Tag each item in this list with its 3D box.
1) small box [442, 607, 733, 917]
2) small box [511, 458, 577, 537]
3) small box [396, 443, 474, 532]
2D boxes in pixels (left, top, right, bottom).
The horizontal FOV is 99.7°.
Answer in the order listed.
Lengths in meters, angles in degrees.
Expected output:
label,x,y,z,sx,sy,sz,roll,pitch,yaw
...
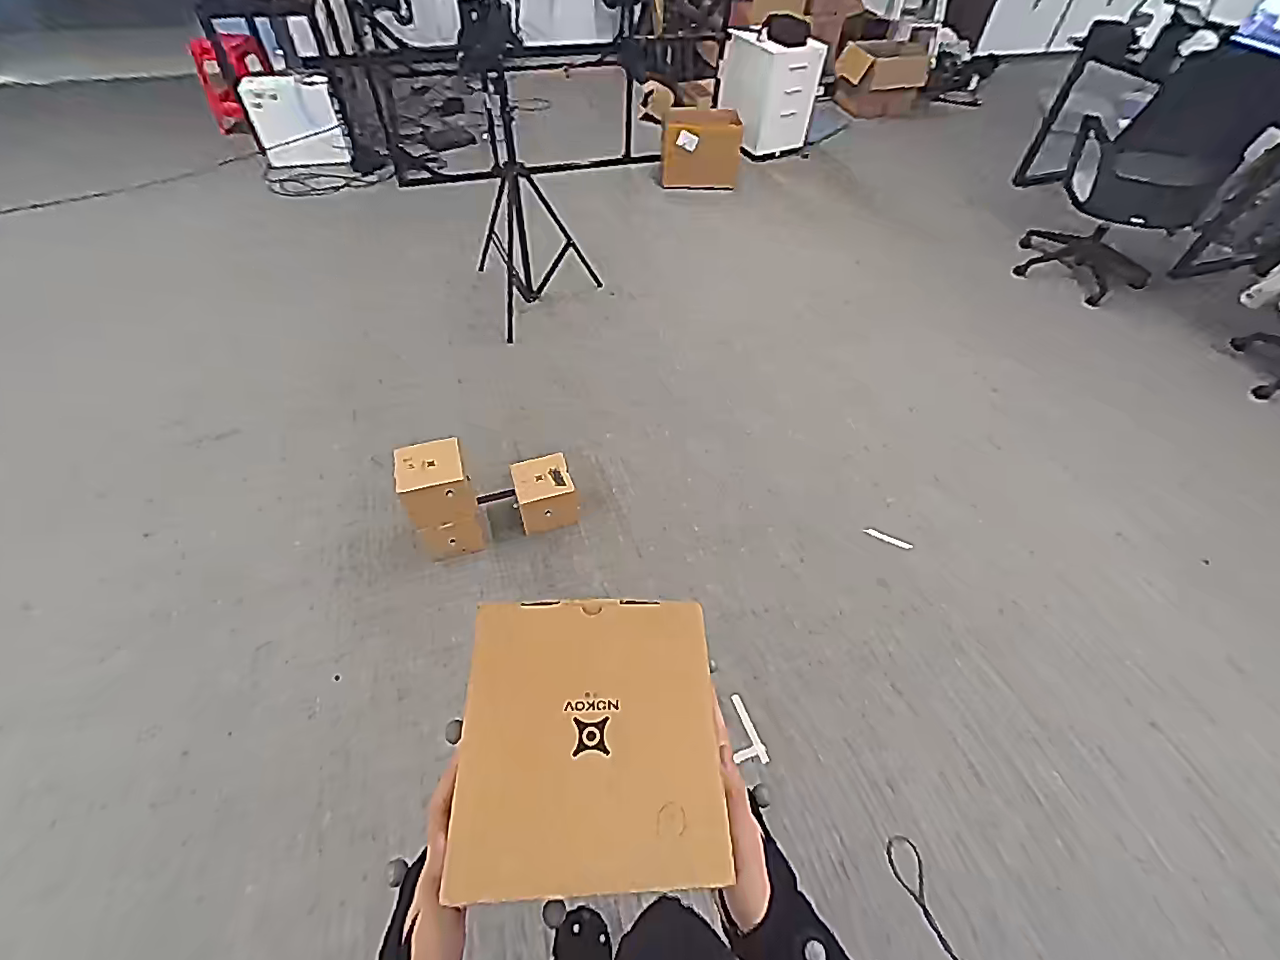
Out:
label,x,y,z,sx,sy,sz,roll,pitch,yaw
small box,-0.037,0.212,0.412,0.168,0.176,0.179,1,52,-6
small box,-0.303,0.058,1.730,0.179,0.176,0.168,-15,53,-12
small box,-0.576,0.023,1.535,0.179,0.176,0.168,-13,51,-13
